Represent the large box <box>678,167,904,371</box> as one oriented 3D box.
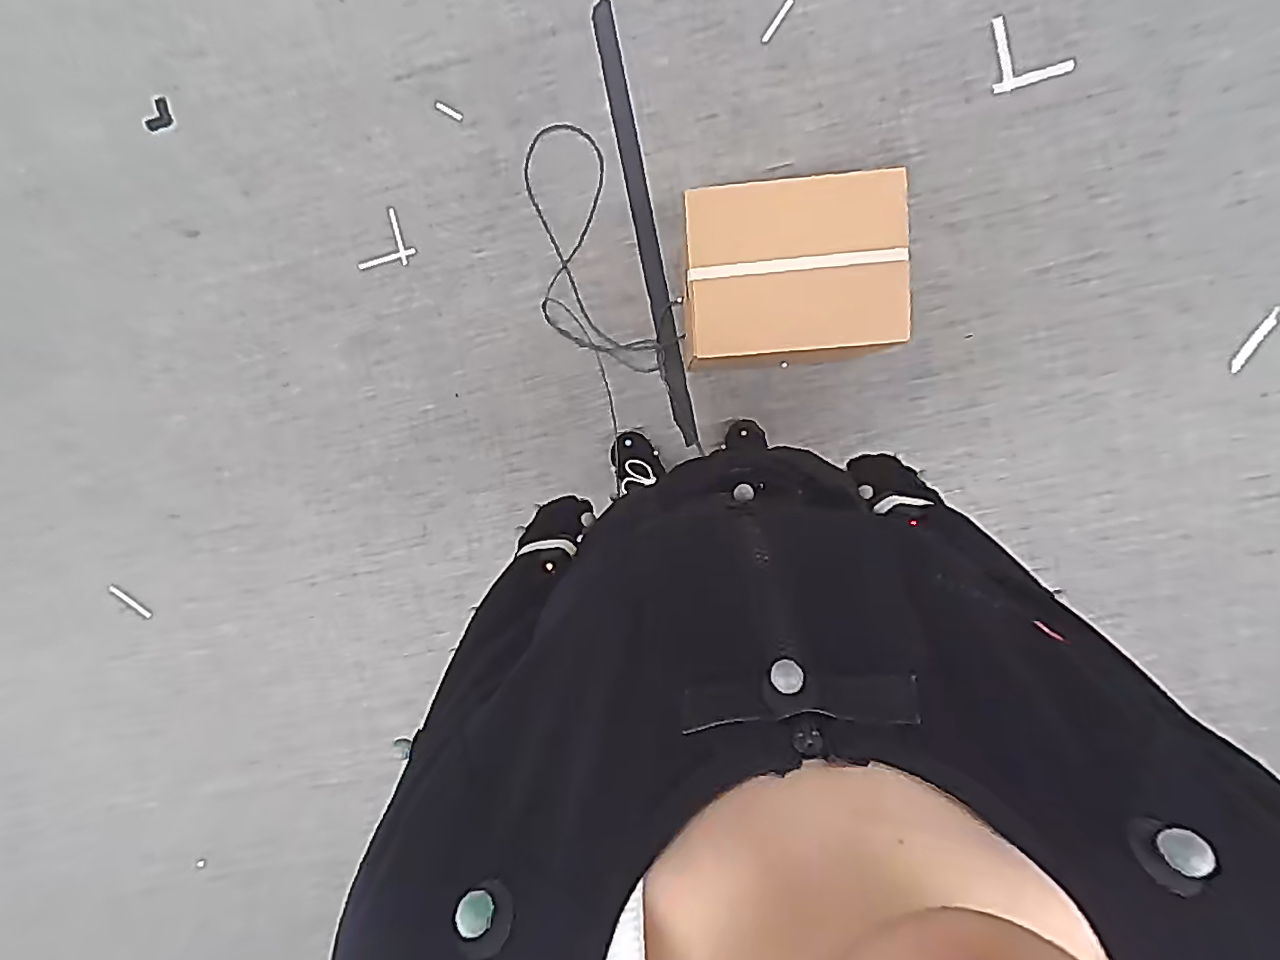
[{"bbox_3d":[0.295,-0.422,1.165,0.408,0.320,0.320,-4,97,3],"label":"large box"}]
